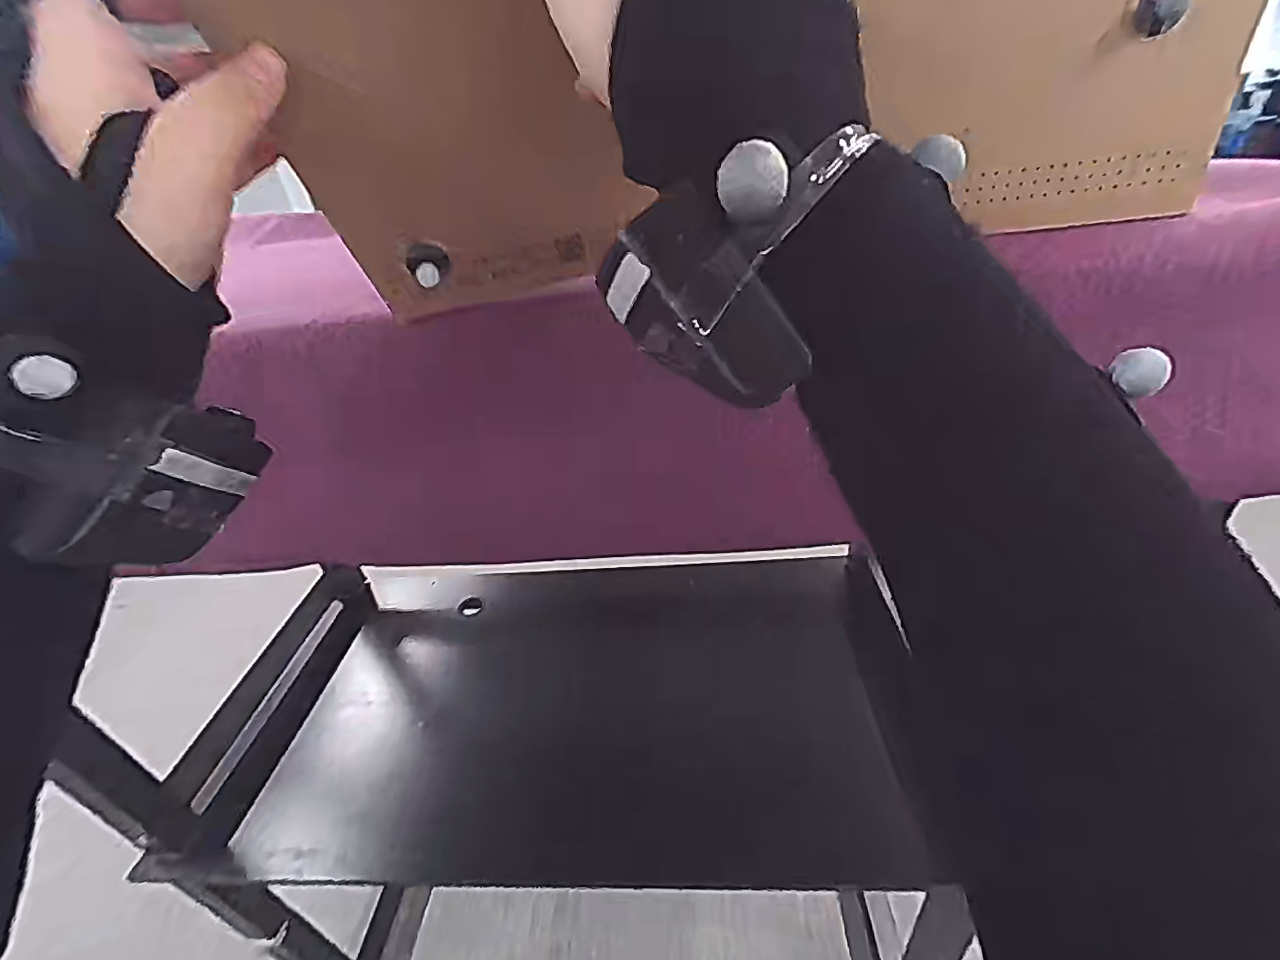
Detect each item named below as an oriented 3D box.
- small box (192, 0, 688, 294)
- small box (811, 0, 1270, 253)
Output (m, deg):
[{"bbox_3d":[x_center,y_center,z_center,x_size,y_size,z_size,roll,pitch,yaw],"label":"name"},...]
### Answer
[{"bbox_3d":[-0.075,-0.216,0.272,0.168,0.176,0.179,-12,56,1],"label":"small box"},{"bbox_3d":[0.201,-0.241,0.314,0.179,0.176,0.168,-2,32,11],"label":"small box"}]
